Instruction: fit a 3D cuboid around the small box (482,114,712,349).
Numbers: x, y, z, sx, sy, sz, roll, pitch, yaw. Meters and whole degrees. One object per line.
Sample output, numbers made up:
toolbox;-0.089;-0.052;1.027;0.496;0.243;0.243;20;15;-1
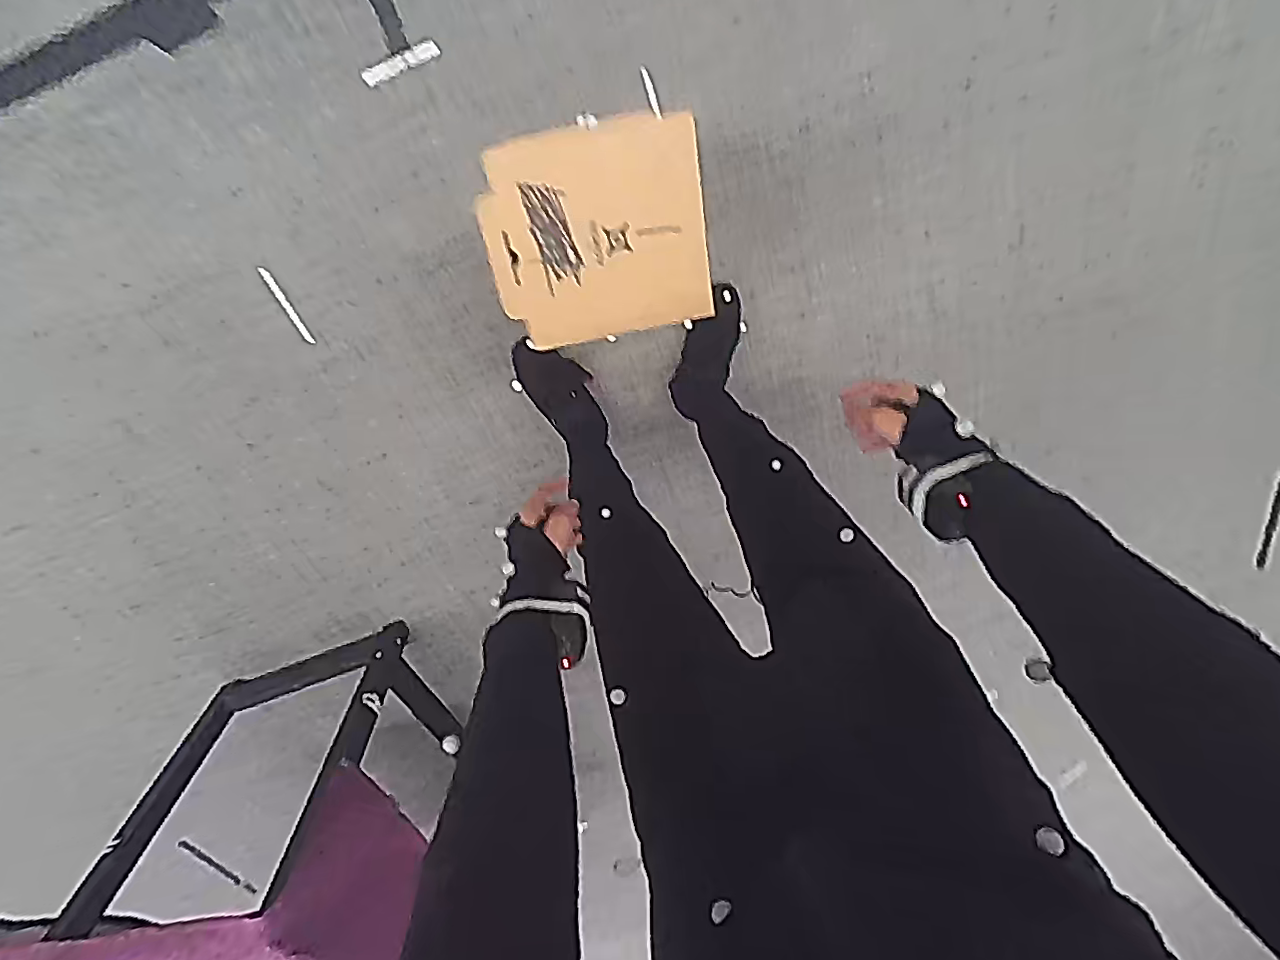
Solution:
small box;-0.038;-0.244;0.538;0.179;0.176;0.168;-12;119;-1
